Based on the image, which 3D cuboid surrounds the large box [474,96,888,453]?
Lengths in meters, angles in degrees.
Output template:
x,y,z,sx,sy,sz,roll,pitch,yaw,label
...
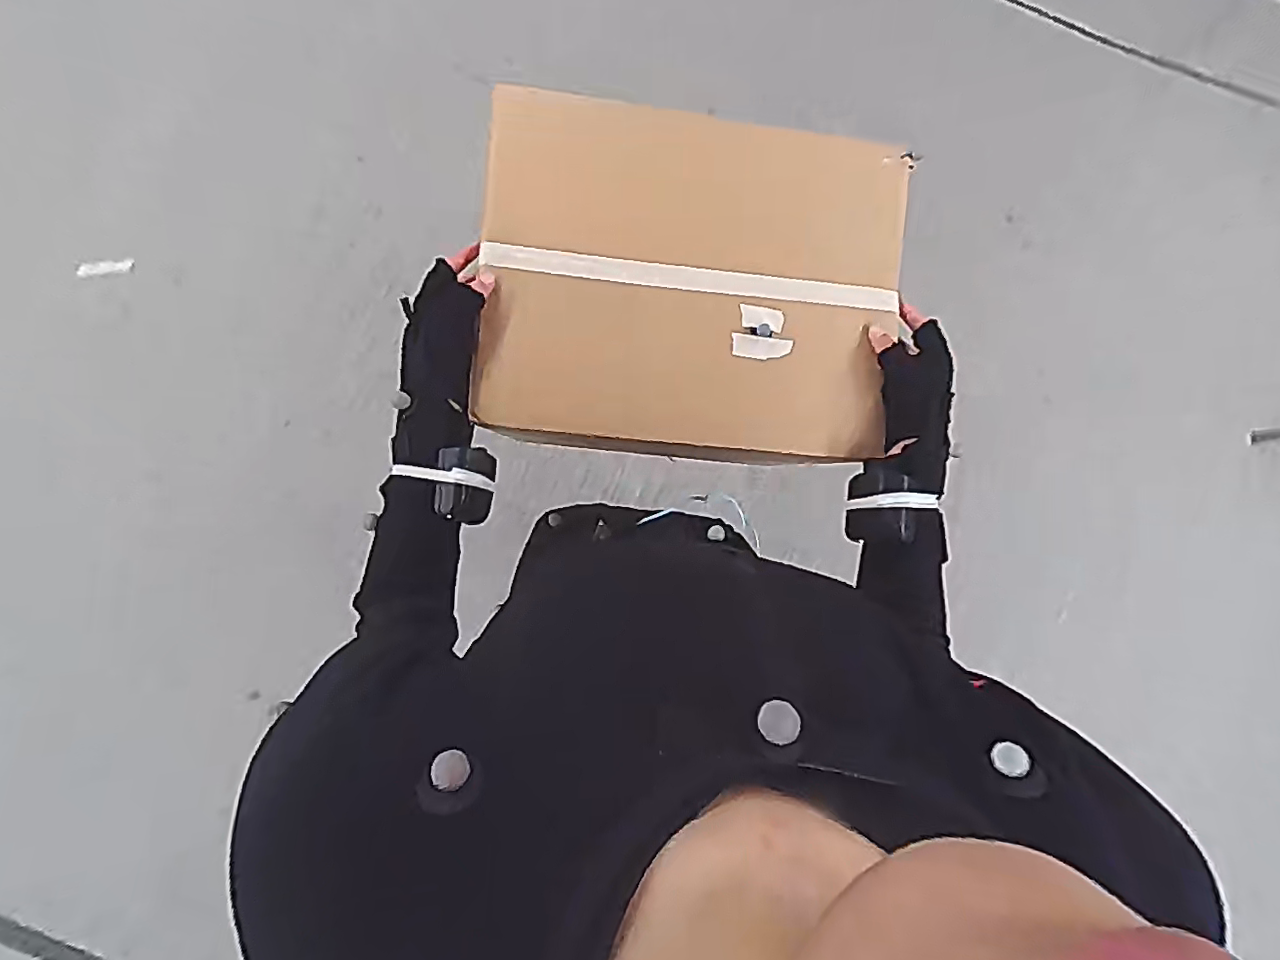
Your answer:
x,y,z,sx,sy,sz,roll,pitch,yaw,label
0.030,-0.202,0.677,0.408,0.320,0.320,4,92,-6,large box
